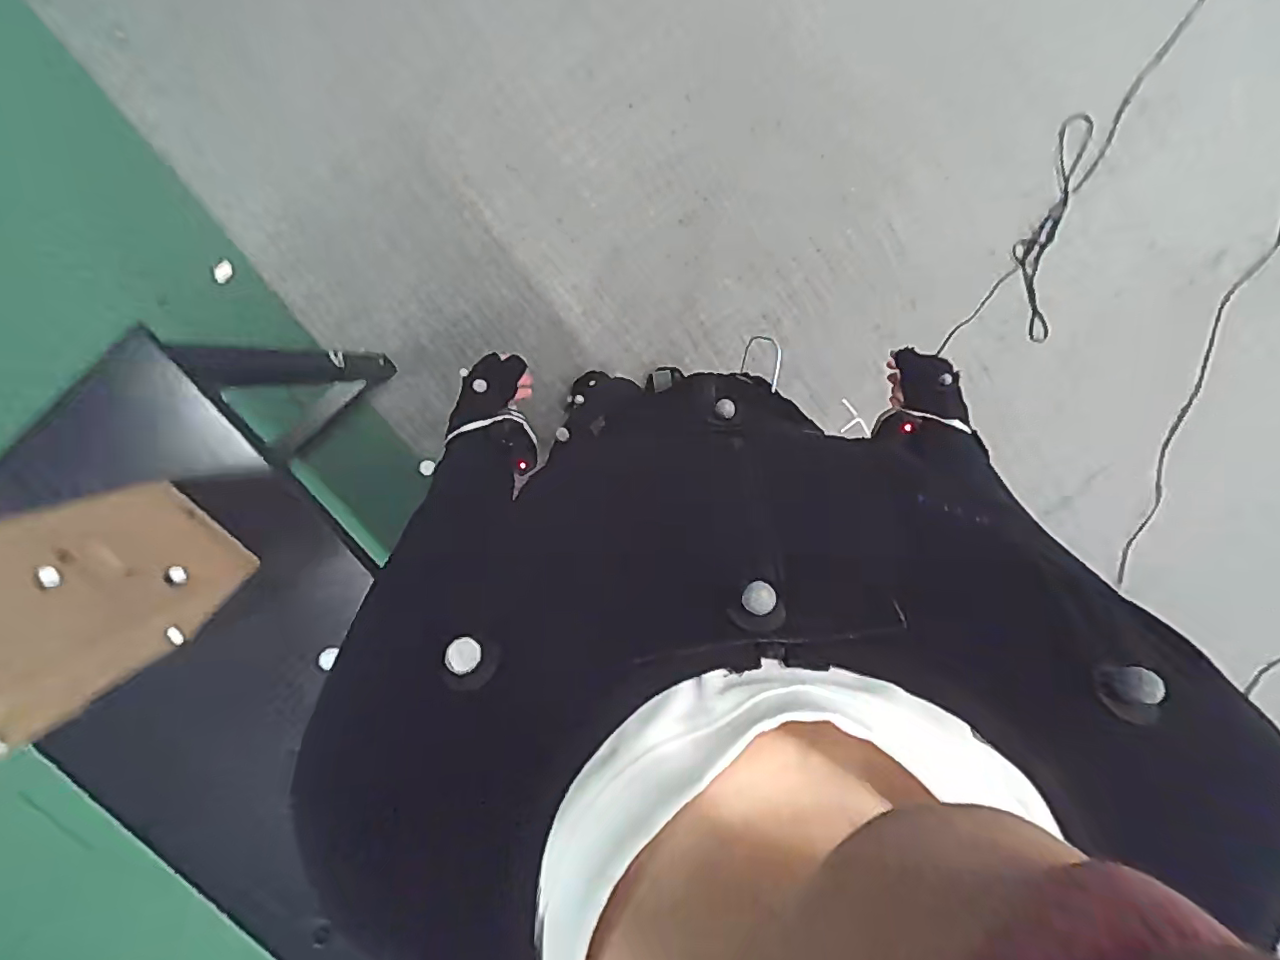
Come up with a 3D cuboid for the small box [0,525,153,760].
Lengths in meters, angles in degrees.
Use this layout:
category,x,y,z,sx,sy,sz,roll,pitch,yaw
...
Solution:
category,x,y,z,sx,sy,sz,roll,pitch,yaw
small box,-0.648,0.173,0.528,0.168,0.176,0.179,43,99,-9
